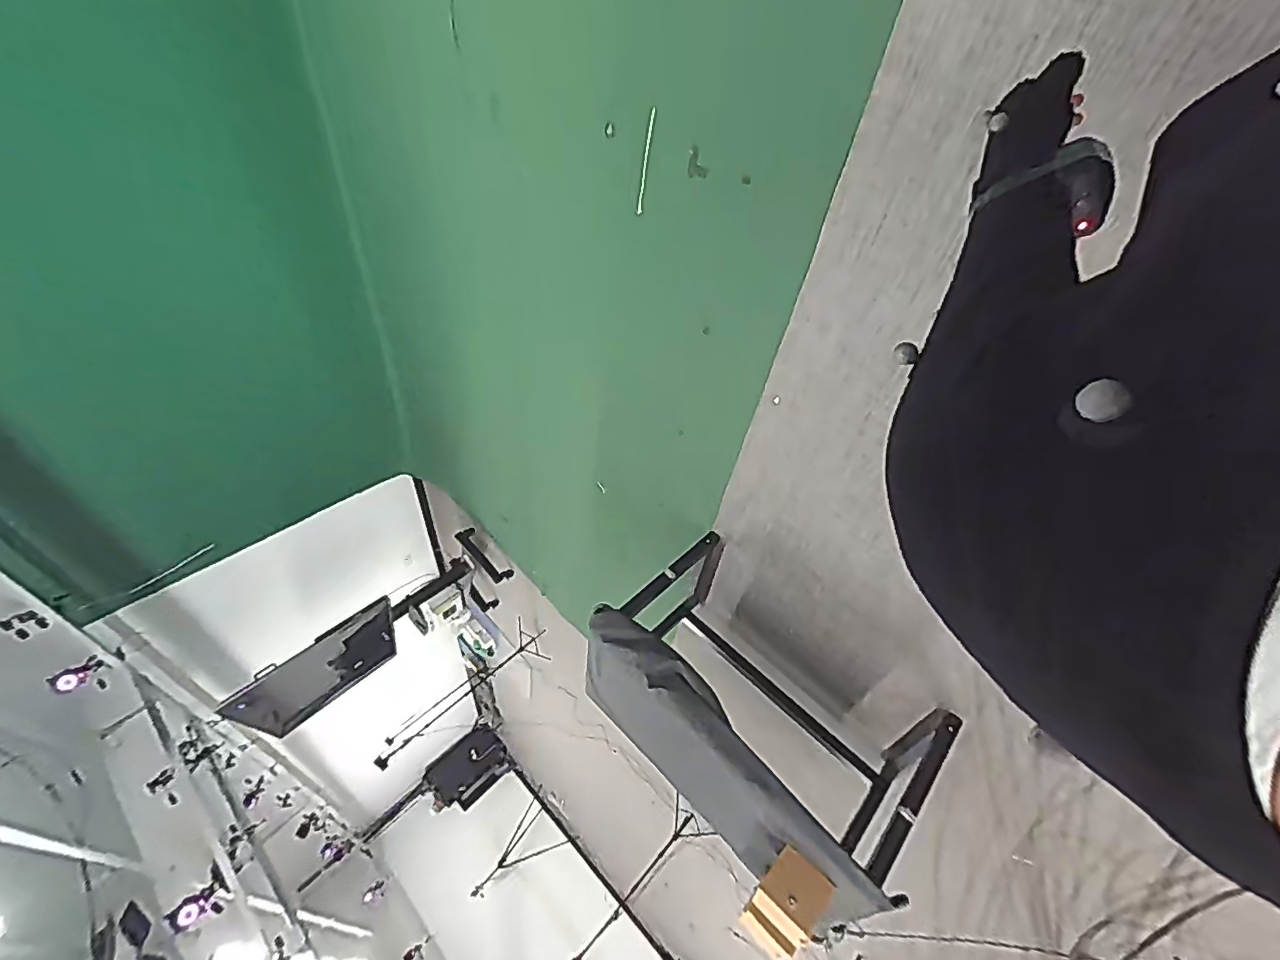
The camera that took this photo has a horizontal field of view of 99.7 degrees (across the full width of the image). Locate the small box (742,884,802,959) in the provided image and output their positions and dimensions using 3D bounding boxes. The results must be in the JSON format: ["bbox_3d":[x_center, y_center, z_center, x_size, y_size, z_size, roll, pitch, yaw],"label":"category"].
[{"bbox_3d":[0.481,1.504,1.843,0.179,0.176,0.168,38,141,26],"label":"small box"}]

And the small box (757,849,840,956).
[{"bbox_3d":[0.486,1.294,1.662,0.179,0.176,0.168,32,139,34],"label":"small box"}]
